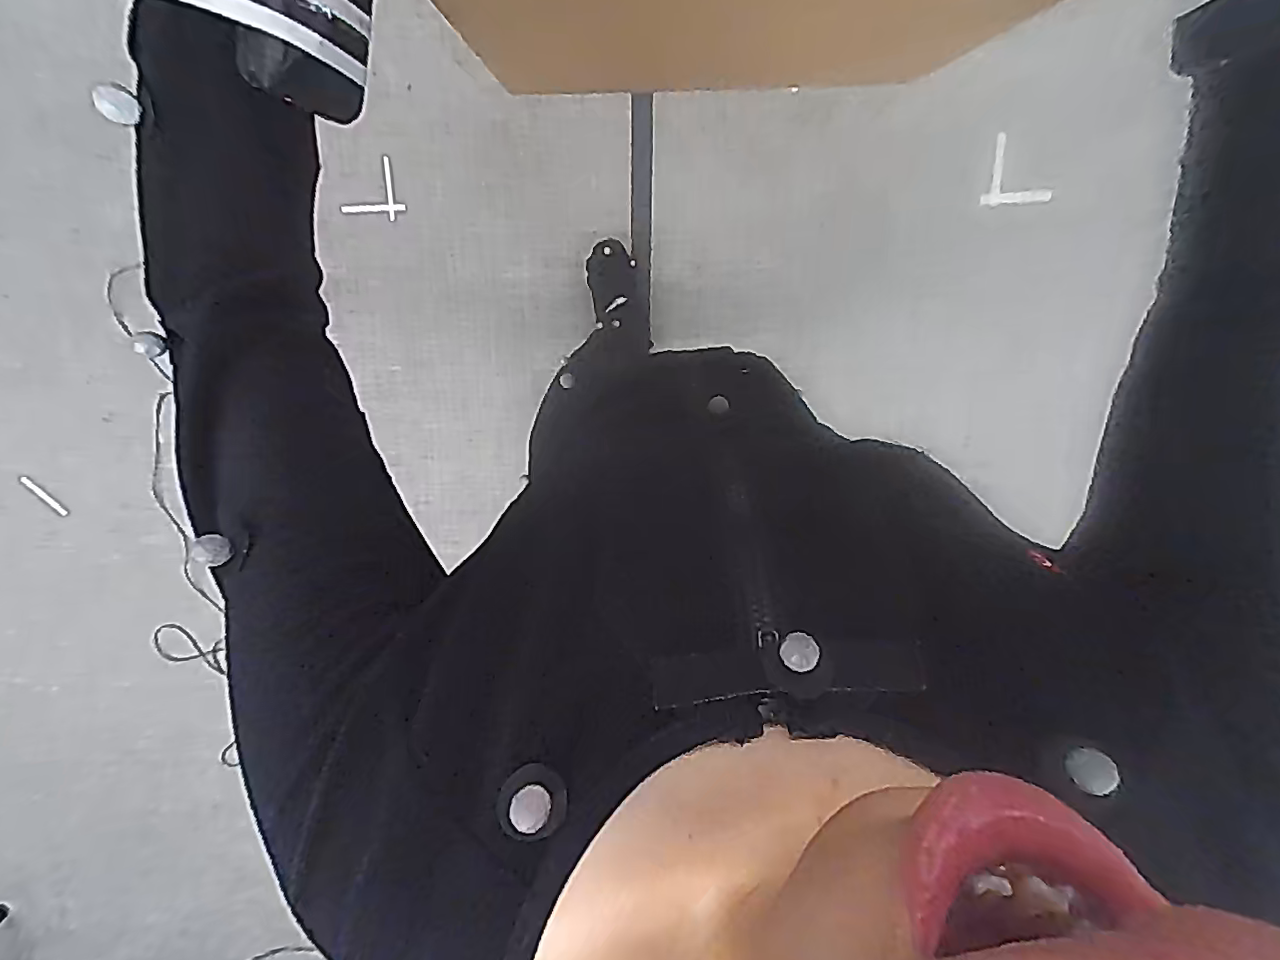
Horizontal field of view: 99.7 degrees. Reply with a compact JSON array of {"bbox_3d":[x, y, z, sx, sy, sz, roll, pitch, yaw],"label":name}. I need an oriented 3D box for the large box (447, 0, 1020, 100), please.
[{"bbox_3d":[0.064,-0.473,0.346,0.408,0.320,0.320,-3,114,0],"label":"large box"}]
